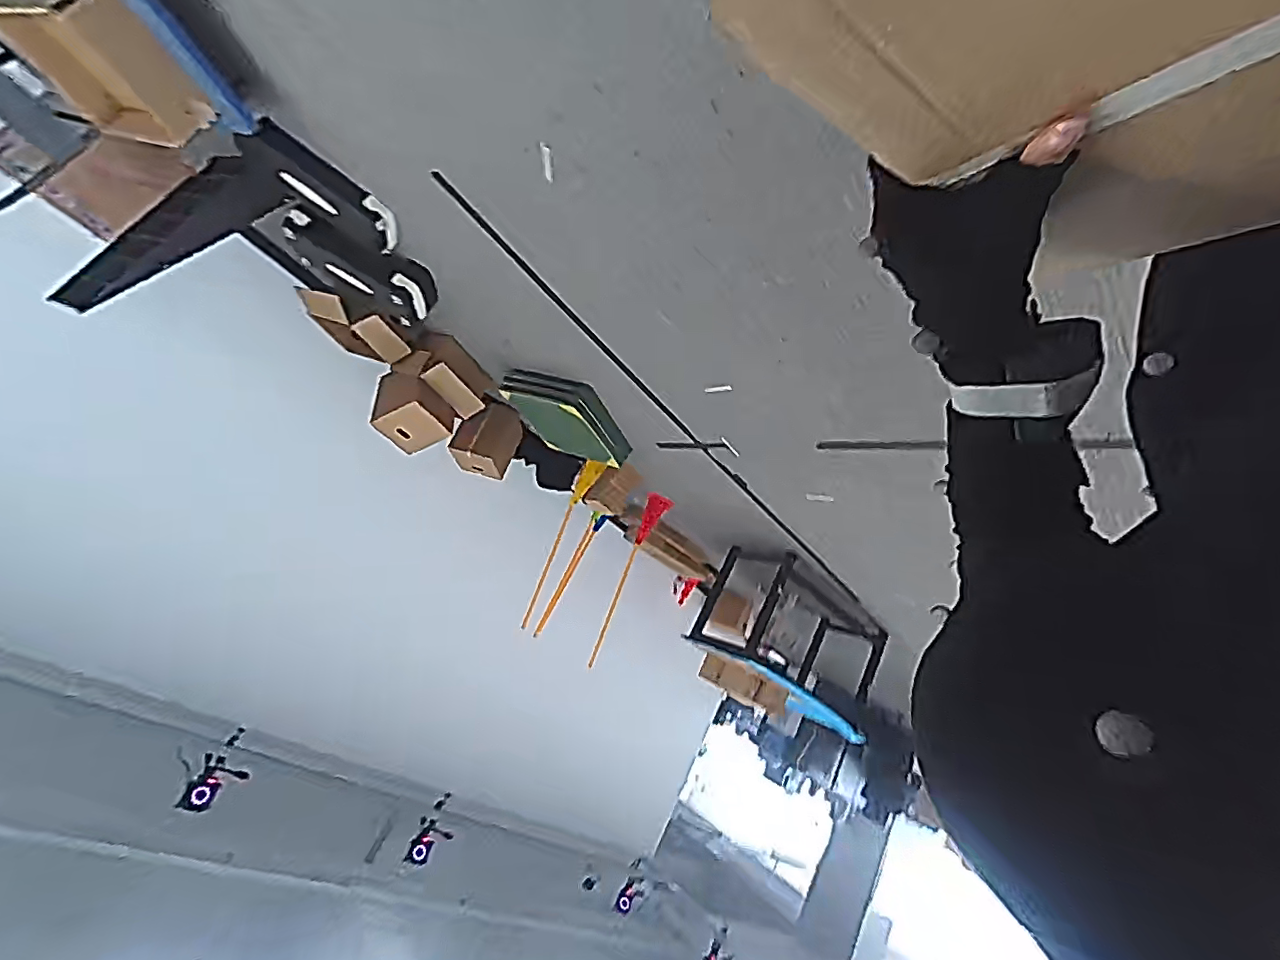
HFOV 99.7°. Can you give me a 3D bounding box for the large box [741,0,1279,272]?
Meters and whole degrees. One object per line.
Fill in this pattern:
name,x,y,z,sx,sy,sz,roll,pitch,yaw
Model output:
large box,0.288,-0.318,0.151,0.320,0.320,0.408,9,175,-34
